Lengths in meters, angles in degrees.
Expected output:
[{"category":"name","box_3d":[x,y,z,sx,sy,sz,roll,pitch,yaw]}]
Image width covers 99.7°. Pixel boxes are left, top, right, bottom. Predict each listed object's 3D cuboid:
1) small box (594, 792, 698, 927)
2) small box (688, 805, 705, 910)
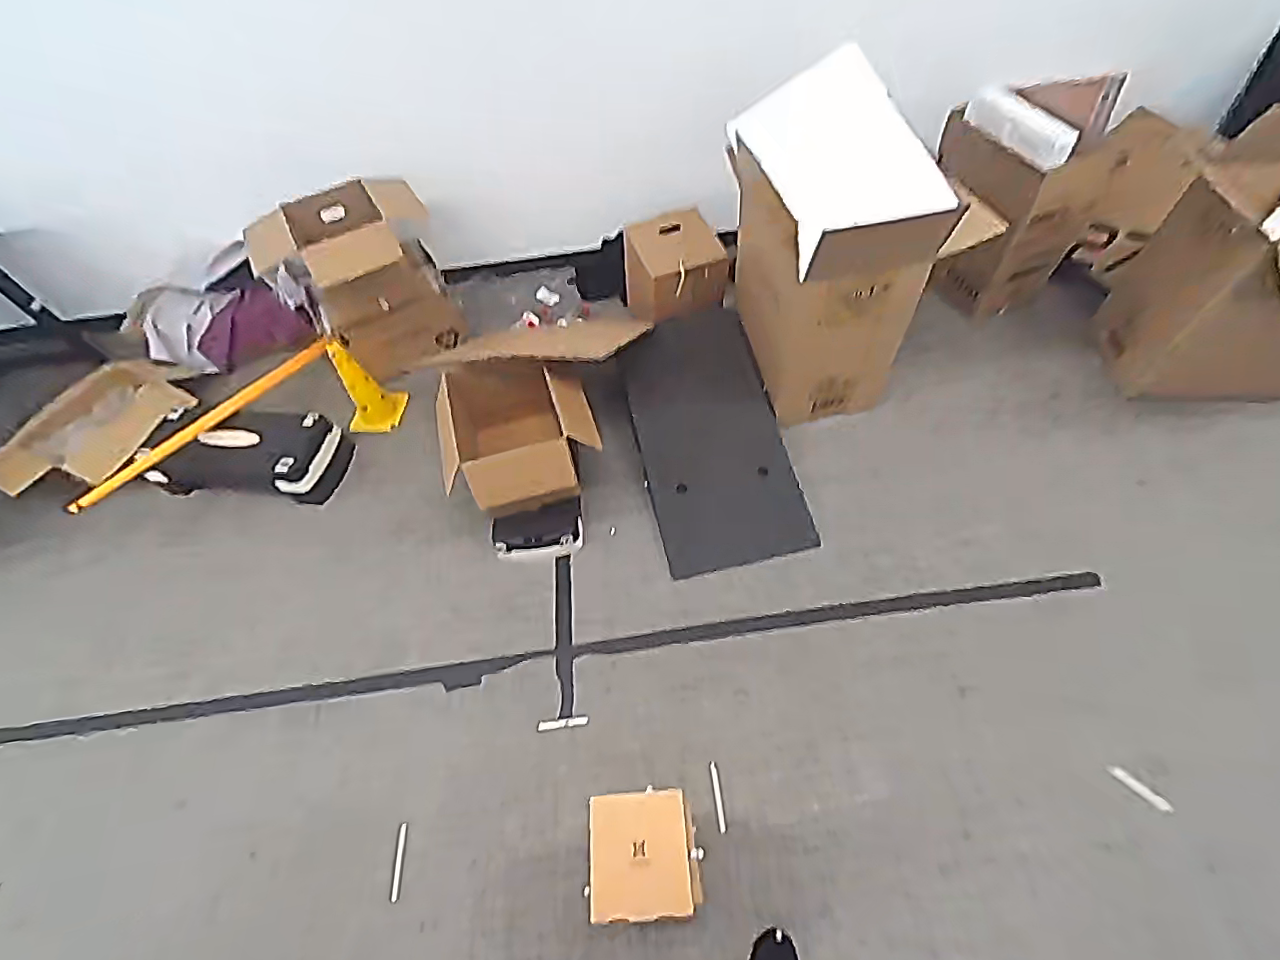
[{"category":"small box","box_3d":[0.008,0.666,0.955,0.168,0.176,0.179,-5,55,1]},{"category":"small box","box_3d":[0.031,0.763,1.083,0.179,0.176,0.168,-7,55,-1]}]
